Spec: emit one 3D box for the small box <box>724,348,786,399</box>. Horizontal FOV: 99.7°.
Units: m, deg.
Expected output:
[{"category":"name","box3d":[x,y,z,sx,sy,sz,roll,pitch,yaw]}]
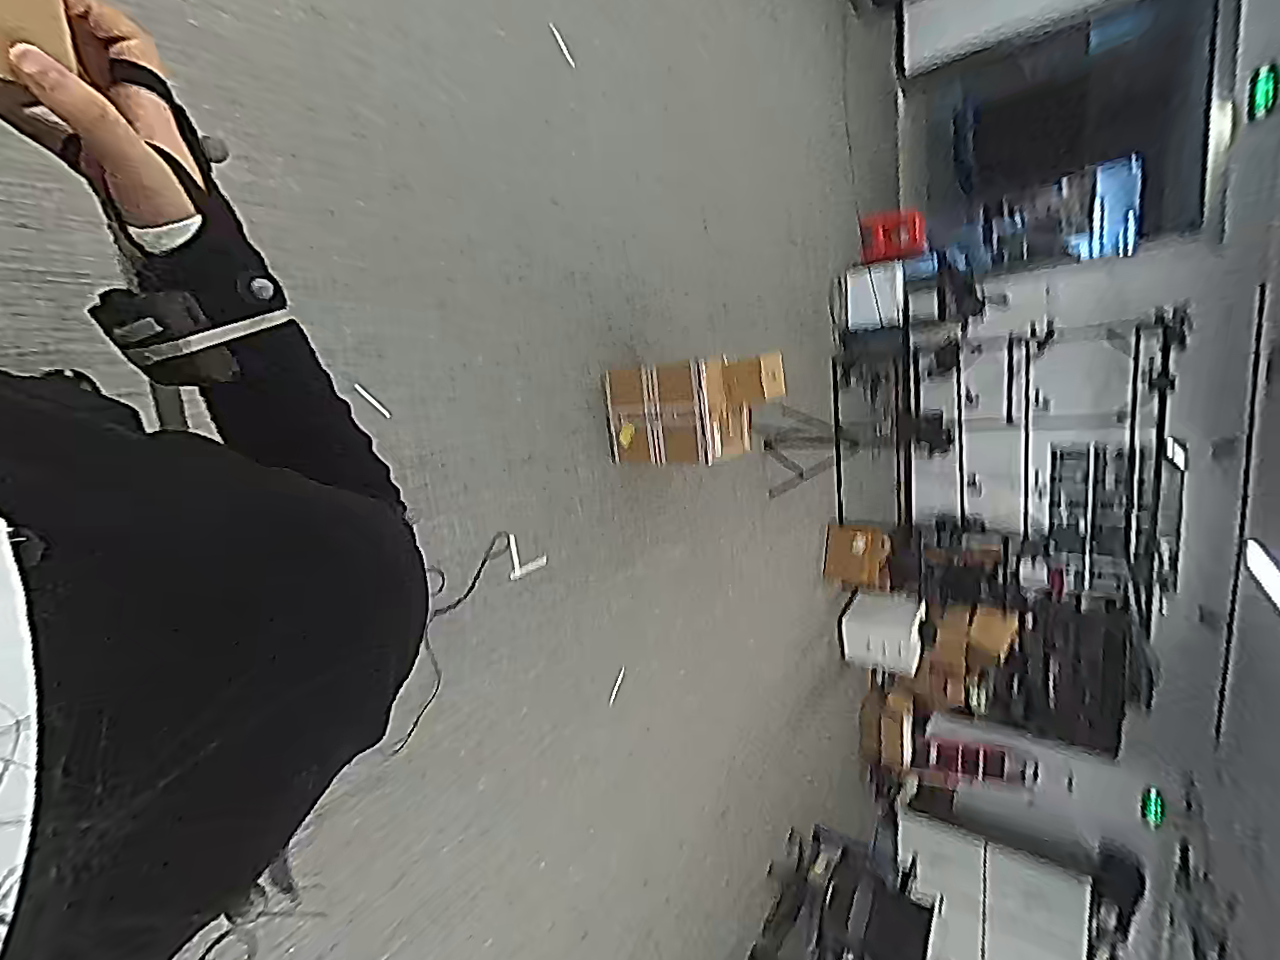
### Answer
[{"category":"small box","box3d":[0.448,-0.414,2.106,0.179,0.176,0.168,-23,107,-45]}]
